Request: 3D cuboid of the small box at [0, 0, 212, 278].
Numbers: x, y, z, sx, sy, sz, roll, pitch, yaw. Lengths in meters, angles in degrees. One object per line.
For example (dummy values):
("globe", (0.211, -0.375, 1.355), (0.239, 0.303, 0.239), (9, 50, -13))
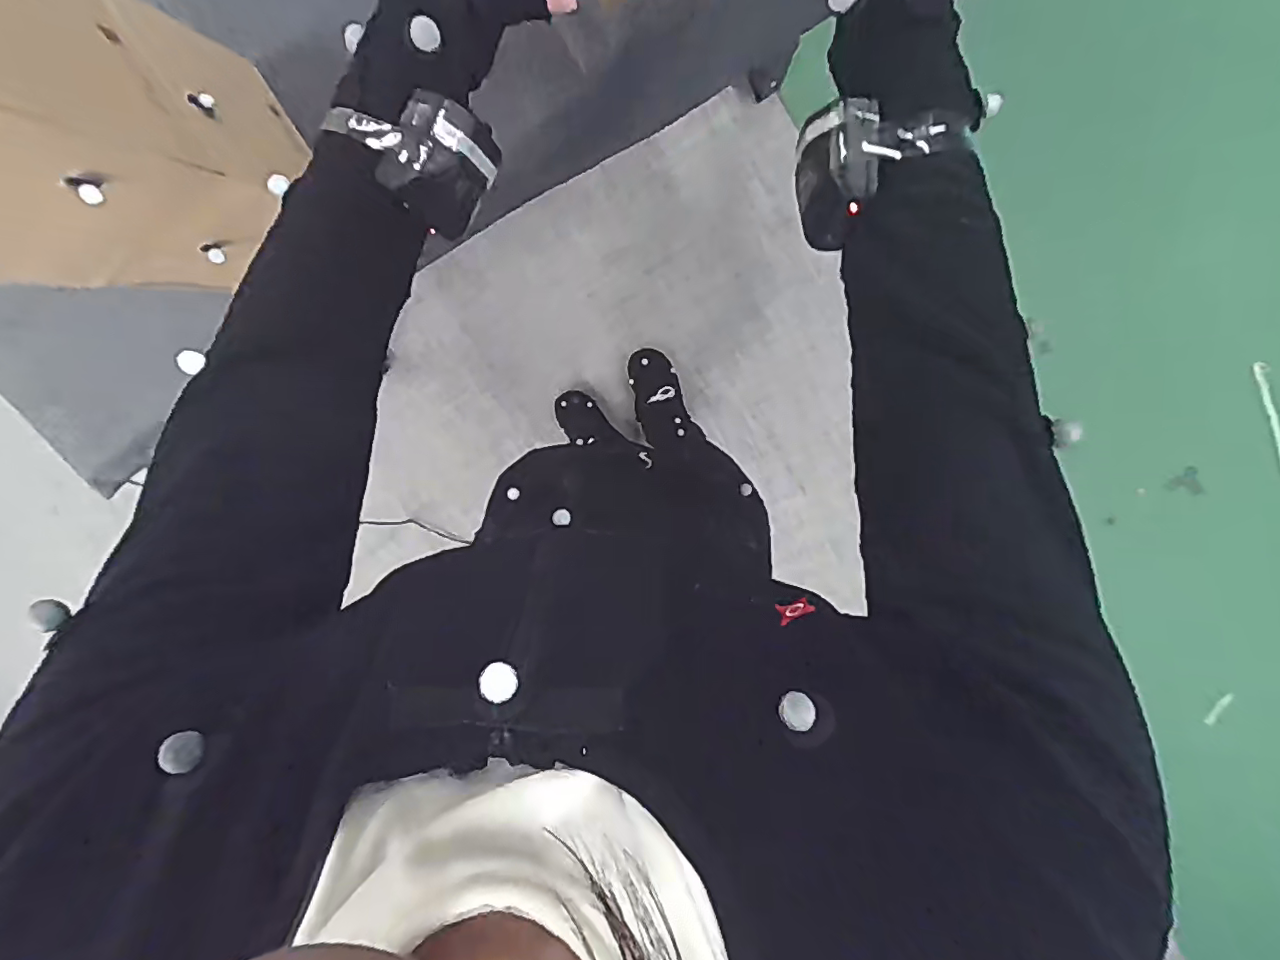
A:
("small box", (-0.459, -0.264, 0.380), (0.179, 0.176, 0.168), (-28, 101, 14))
